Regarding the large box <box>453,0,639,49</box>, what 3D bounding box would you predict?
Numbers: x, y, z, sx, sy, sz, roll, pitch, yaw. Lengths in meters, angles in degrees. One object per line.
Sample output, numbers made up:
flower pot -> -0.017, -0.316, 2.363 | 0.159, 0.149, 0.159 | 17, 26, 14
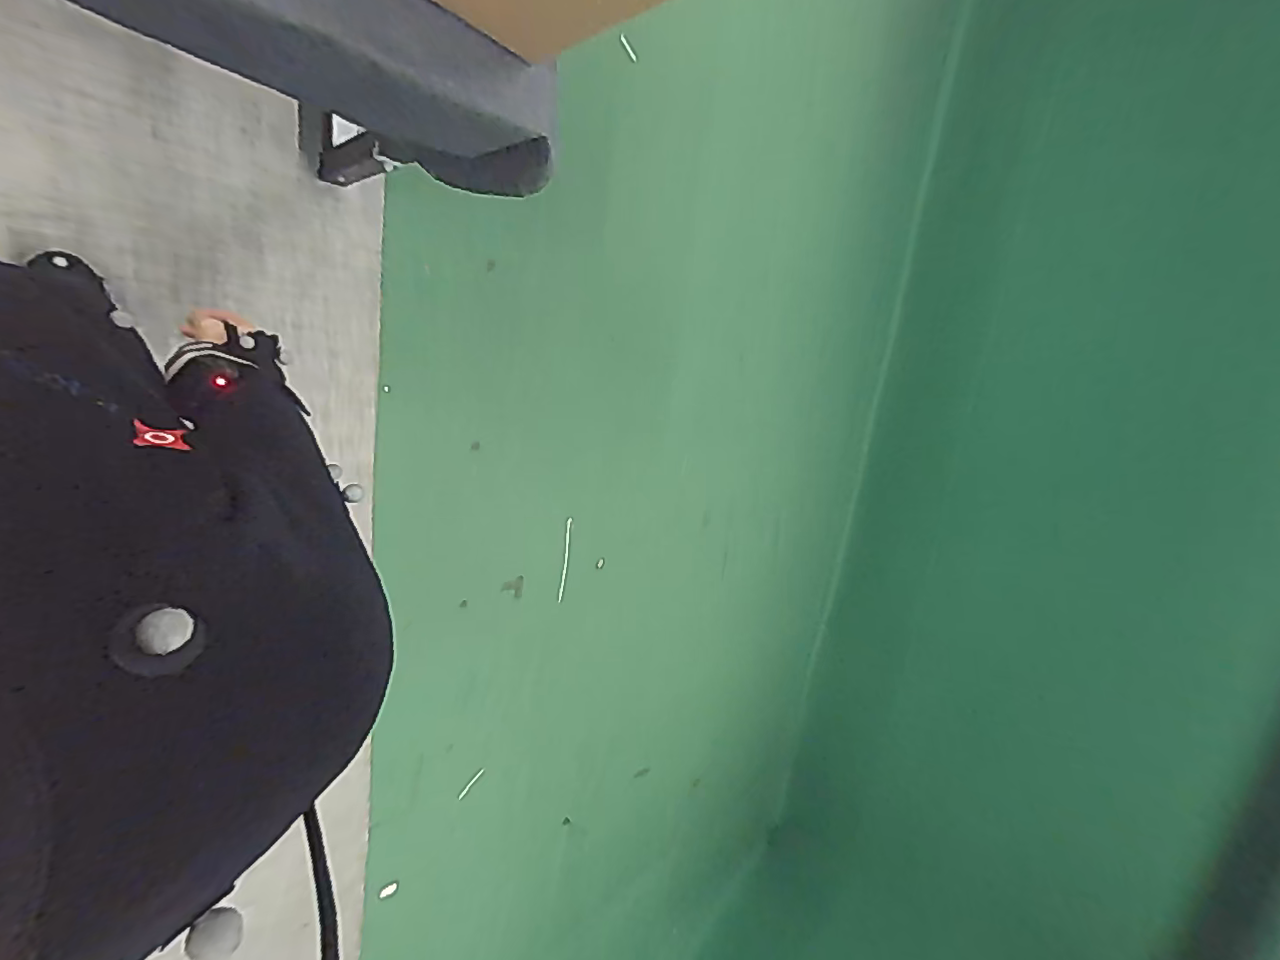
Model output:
large box -> -0.137, -0.632, 0.401 | 0.408, 0.320, 0.320 | -3, 107, -48
